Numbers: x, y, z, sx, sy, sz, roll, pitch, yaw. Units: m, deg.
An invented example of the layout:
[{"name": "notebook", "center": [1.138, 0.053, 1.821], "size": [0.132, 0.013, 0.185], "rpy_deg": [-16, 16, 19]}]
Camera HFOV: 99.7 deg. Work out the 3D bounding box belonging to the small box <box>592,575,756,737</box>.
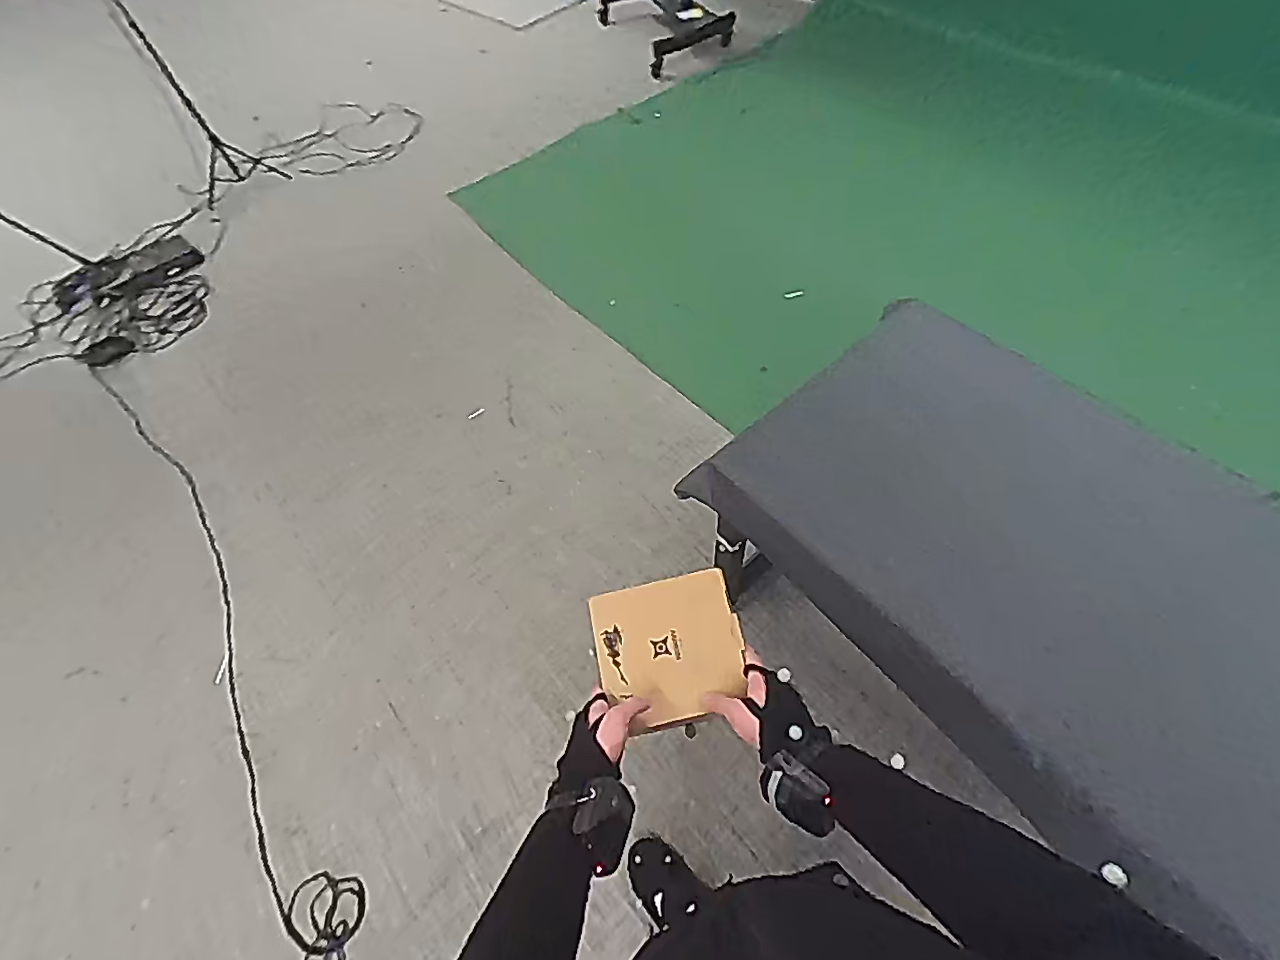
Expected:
[{"name": "small box", "center": [0.043, 0.241, 0.725], "size": [0.179, 0.176, 0.168], "rpy_deg": [-12, 63, 1]}]
